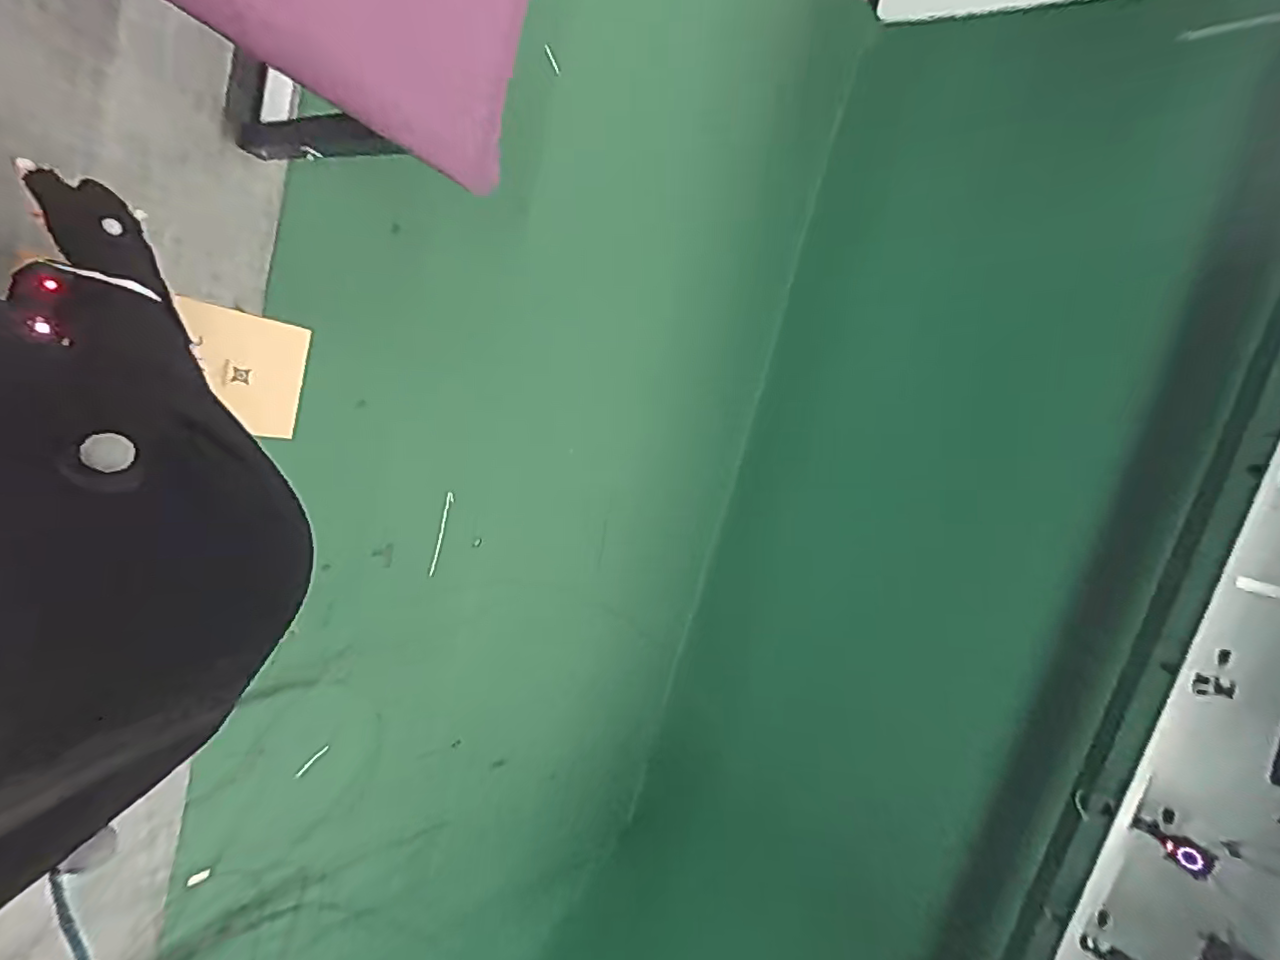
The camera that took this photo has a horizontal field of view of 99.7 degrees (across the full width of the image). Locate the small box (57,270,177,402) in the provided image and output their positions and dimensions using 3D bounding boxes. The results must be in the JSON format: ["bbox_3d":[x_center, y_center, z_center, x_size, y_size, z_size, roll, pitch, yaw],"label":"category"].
[{"bbox_3d":[-0.765,-0.209,0.847,0.168,0.176,0.179,9,98,-60],"label":"small box"}]

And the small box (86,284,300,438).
[{"bbox_3d":[-0.628,-0.167,0.765,0.179,0.176,0.168,5,101,-59],"label":"small box"}]

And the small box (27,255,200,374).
[{"bbox_3d":[-0.898,-0.262,0.924,0.168,0.176,0.179,12,96,-60],"label":"small box"}]
